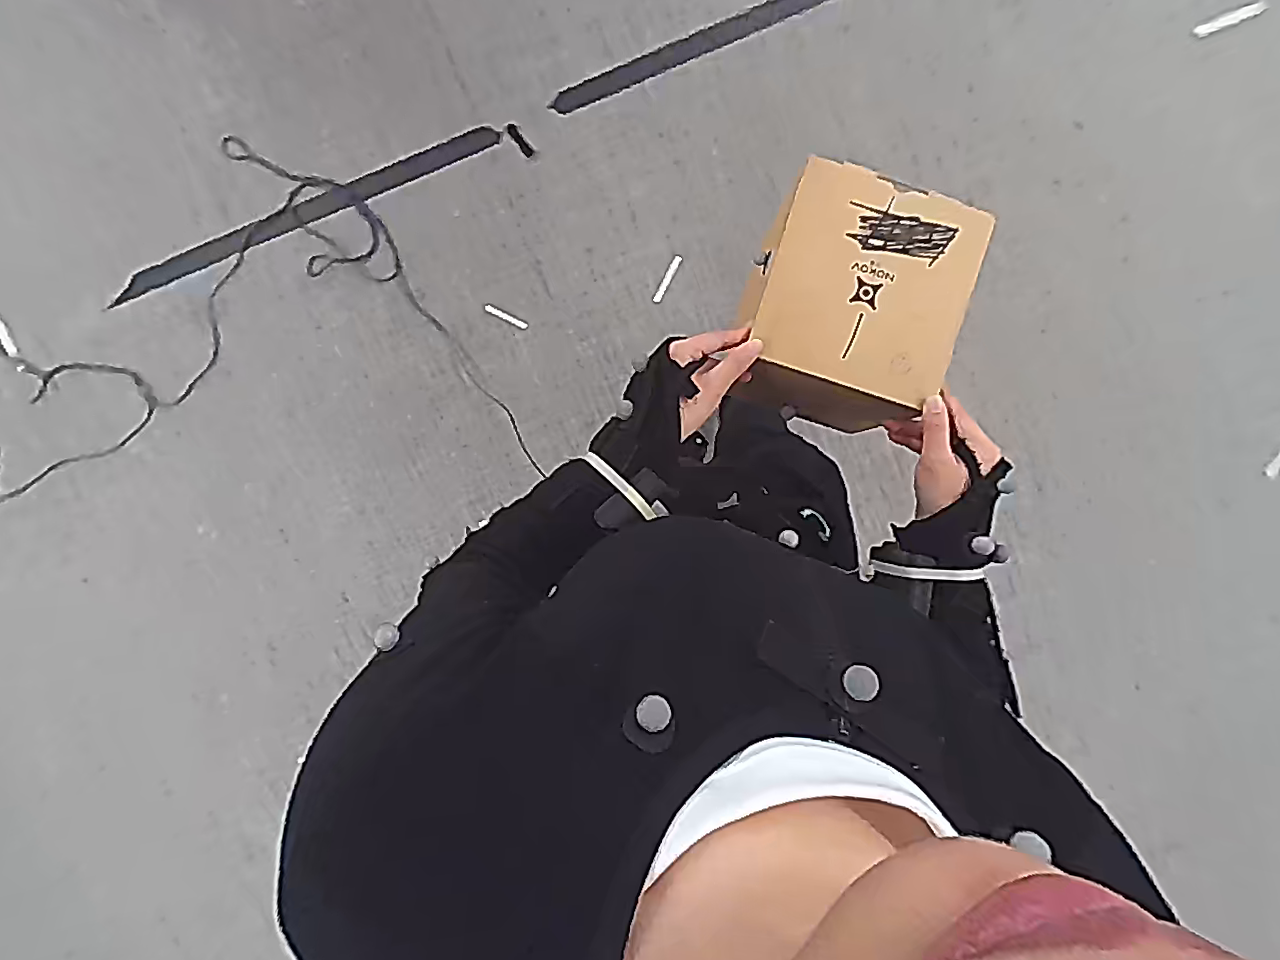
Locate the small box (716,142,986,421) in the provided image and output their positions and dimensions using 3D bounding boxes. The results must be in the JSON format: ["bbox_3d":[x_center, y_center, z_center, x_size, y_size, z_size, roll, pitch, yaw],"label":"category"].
[{"bbox_3d":[0.182,-0.170,0.523,0.168,0.176,0.179,19,89,-1],"label":"small box"}]

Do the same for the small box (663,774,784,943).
[{"bbox_3d":[0.152,0.708,1.028,0.168,0.176,0.179,-24,97,4],"label":"small box"}]
